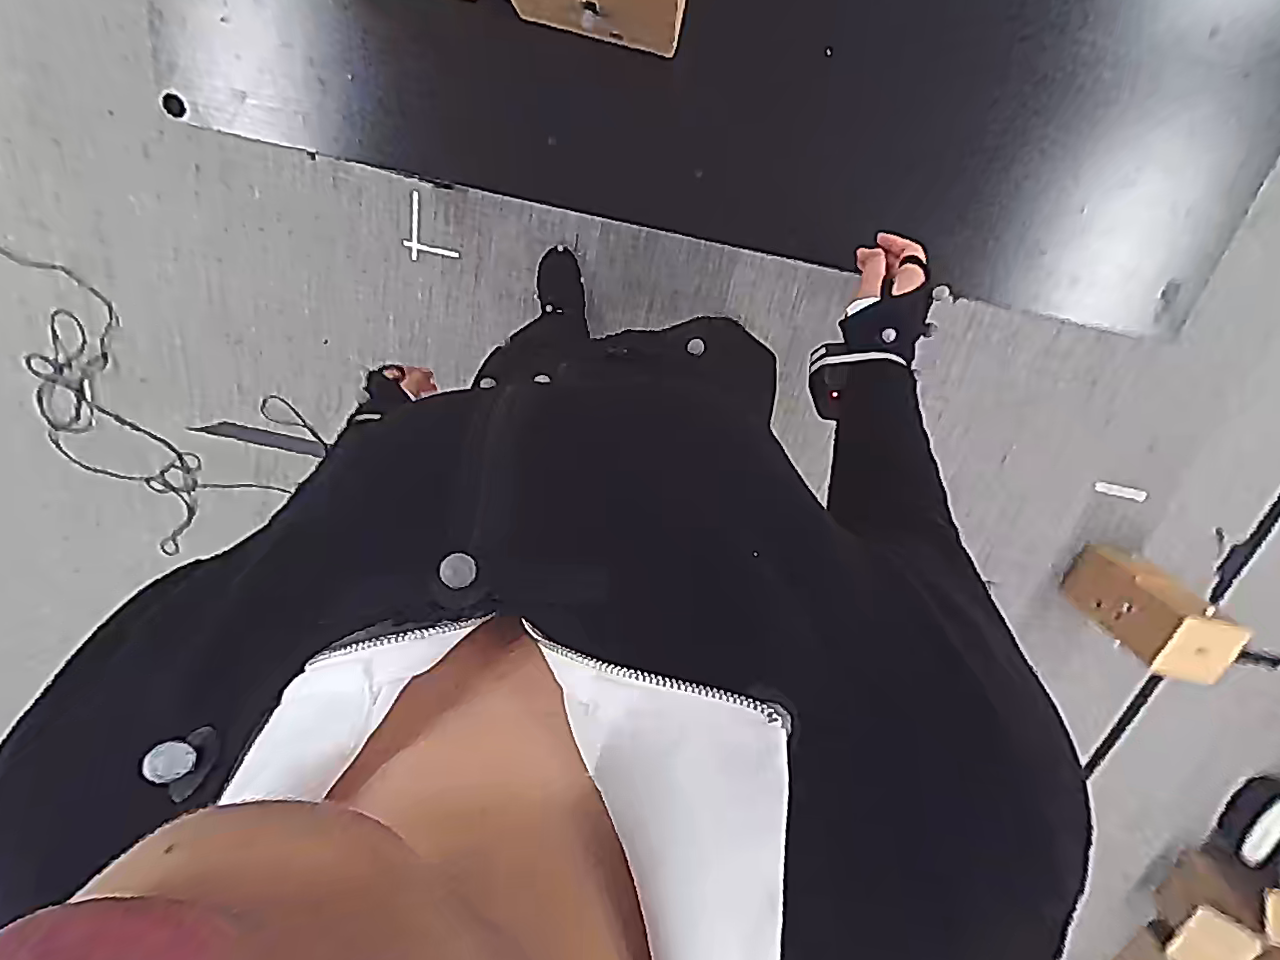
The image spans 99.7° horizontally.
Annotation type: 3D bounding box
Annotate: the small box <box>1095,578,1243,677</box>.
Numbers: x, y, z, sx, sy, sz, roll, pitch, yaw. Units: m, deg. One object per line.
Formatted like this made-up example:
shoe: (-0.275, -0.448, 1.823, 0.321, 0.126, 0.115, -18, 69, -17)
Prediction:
small box: (1.354, 0.375, 1.398, 0.179, 0.176, 0.168, 12, 111, -2)

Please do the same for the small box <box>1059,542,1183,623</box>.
small box: (1.356, 0.305, 1.545, 0.168, 0.176, 0.179, 13, 112, -4)

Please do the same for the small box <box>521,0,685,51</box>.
small box: (-0.028, -0.510, 0.464, 0.168, 0.176, 0.179, 12, 113, -4)
